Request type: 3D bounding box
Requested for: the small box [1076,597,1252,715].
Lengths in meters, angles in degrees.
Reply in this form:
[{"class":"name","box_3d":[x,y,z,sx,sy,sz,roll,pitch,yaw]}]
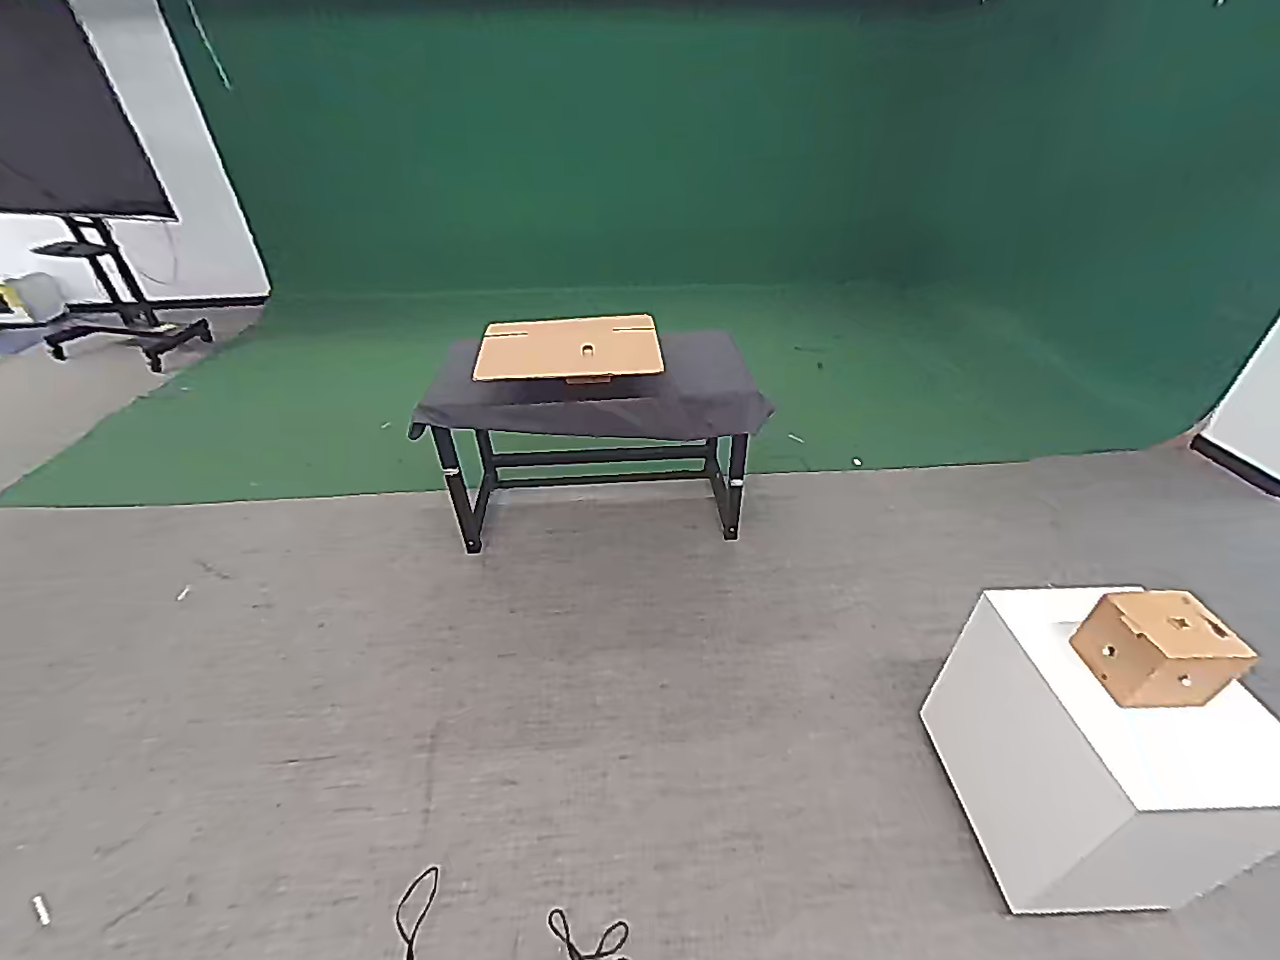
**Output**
[{"class":"small box","box_3d":[1.047,0.362,1.107,0.179,0.176,0.168,-2,35,-3]}]
